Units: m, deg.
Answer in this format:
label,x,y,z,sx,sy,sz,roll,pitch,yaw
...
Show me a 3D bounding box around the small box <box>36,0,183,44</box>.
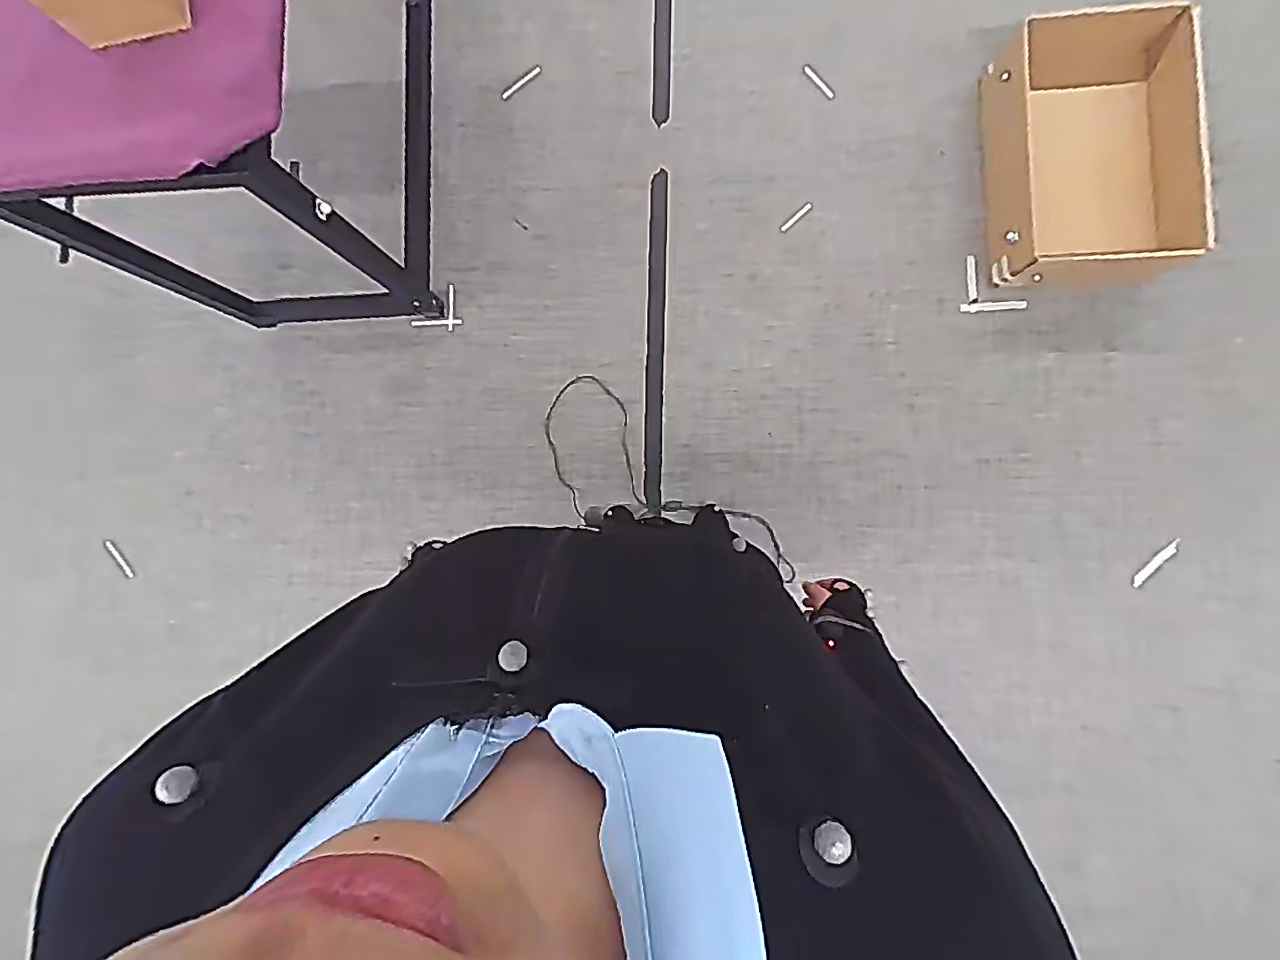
label,x,y,z,sx,sy,sz,roll,pitch,yaw
small box,-0.821,-0.799,0.798,0.179,0.176,0.168,-8,86,4
